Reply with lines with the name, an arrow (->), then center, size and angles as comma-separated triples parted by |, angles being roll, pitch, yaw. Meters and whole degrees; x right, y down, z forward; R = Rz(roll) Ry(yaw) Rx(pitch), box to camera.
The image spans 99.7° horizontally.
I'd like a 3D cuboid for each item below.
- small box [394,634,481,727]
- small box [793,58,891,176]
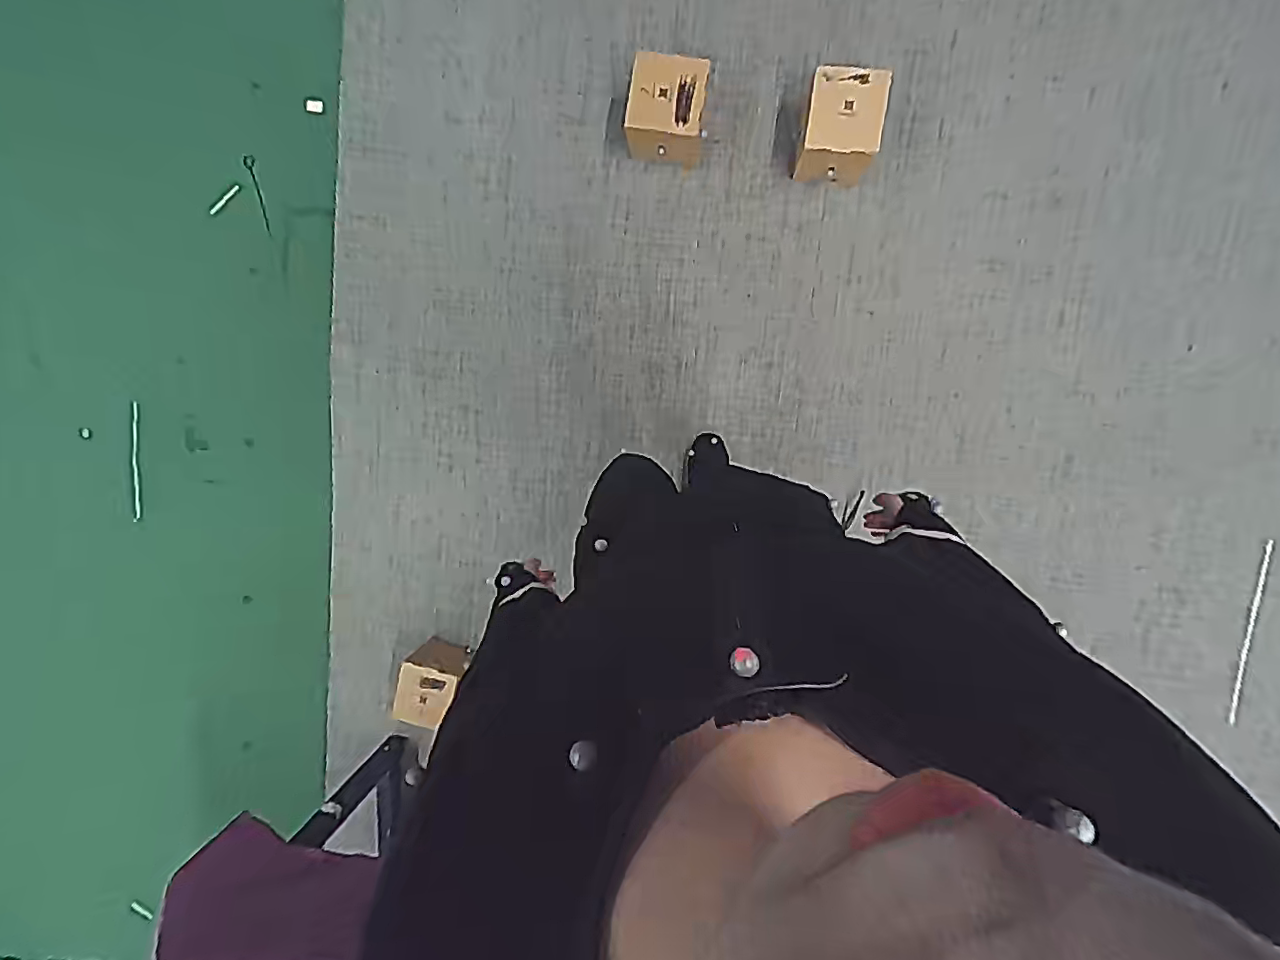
small box -> -0.579, 0.571, 1.568 | 0.168, 0.176, 0.179 | 15, 99, 5
small box -> 0.464, -0.842, 1.270 | 0.168, 0.176, 0.179 | 8, 98, 5
